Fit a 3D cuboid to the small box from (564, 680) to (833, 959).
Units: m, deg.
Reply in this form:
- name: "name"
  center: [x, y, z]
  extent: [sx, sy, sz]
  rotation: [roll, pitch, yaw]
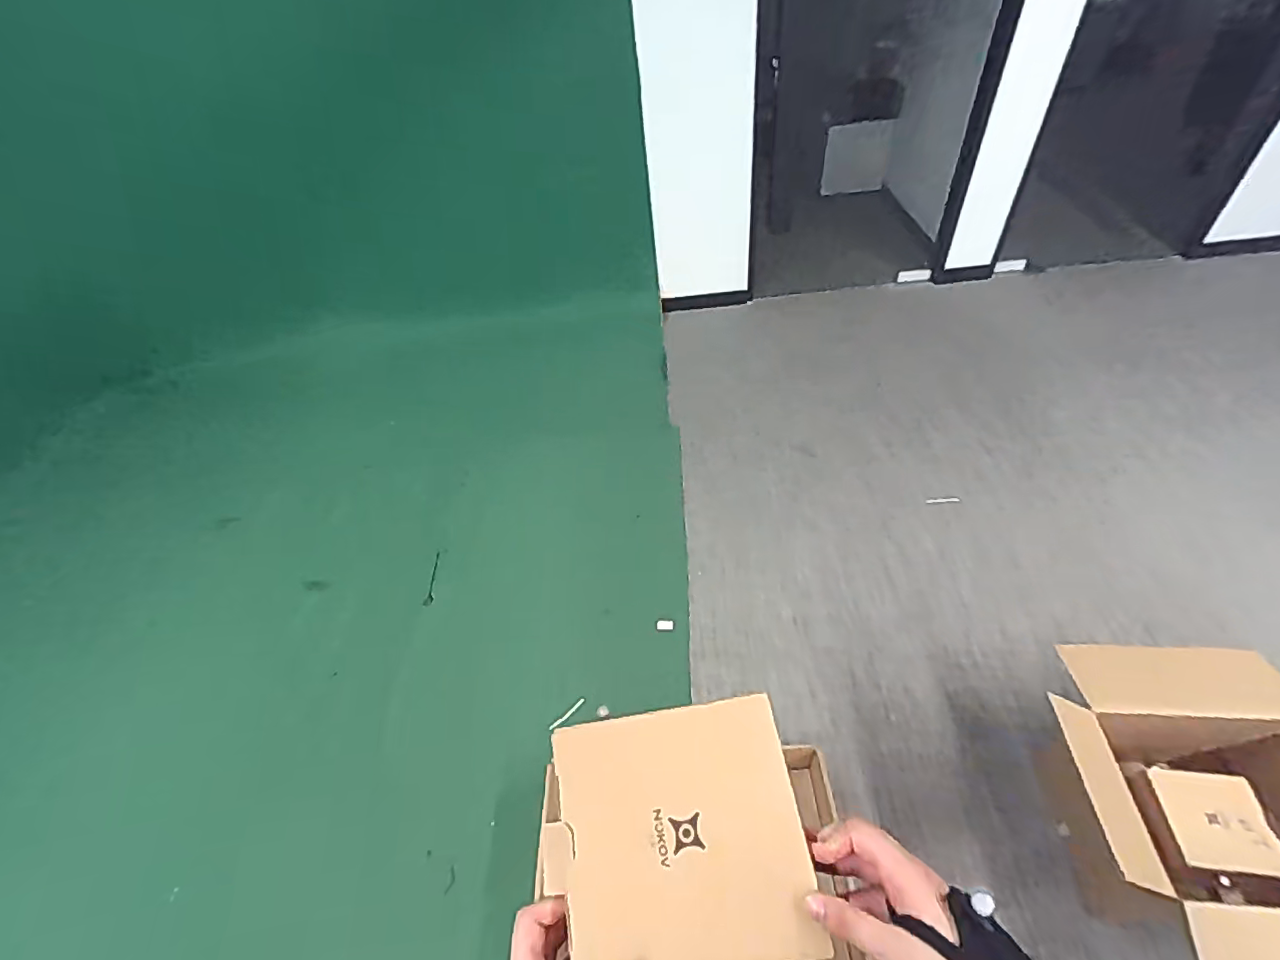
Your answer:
- name: "small box"
  center: [0.040, 0.282, 0.472]
  extent: [0.179, 0.176, 0.168]
  rotation: [-10, 62, -1]
